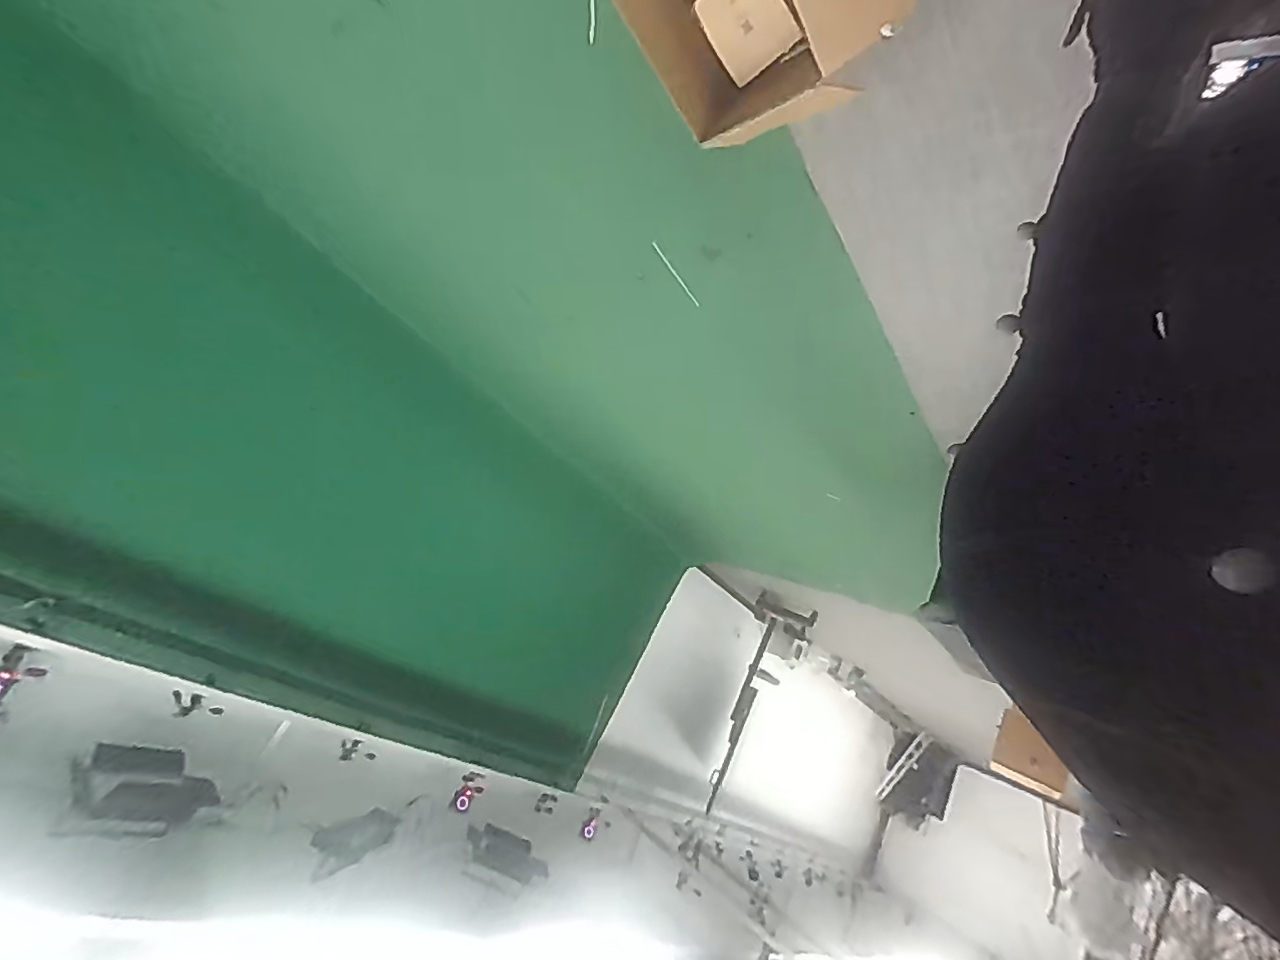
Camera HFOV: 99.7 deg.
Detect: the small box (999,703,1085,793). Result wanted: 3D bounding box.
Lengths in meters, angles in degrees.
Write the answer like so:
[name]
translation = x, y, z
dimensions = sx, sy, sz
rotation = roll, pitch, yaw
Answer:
[small box]
translation = 1.181, 0.785, 1.591
dimensions = 0.179, 0.176, 0.168
rotation = 16, 158, 40
